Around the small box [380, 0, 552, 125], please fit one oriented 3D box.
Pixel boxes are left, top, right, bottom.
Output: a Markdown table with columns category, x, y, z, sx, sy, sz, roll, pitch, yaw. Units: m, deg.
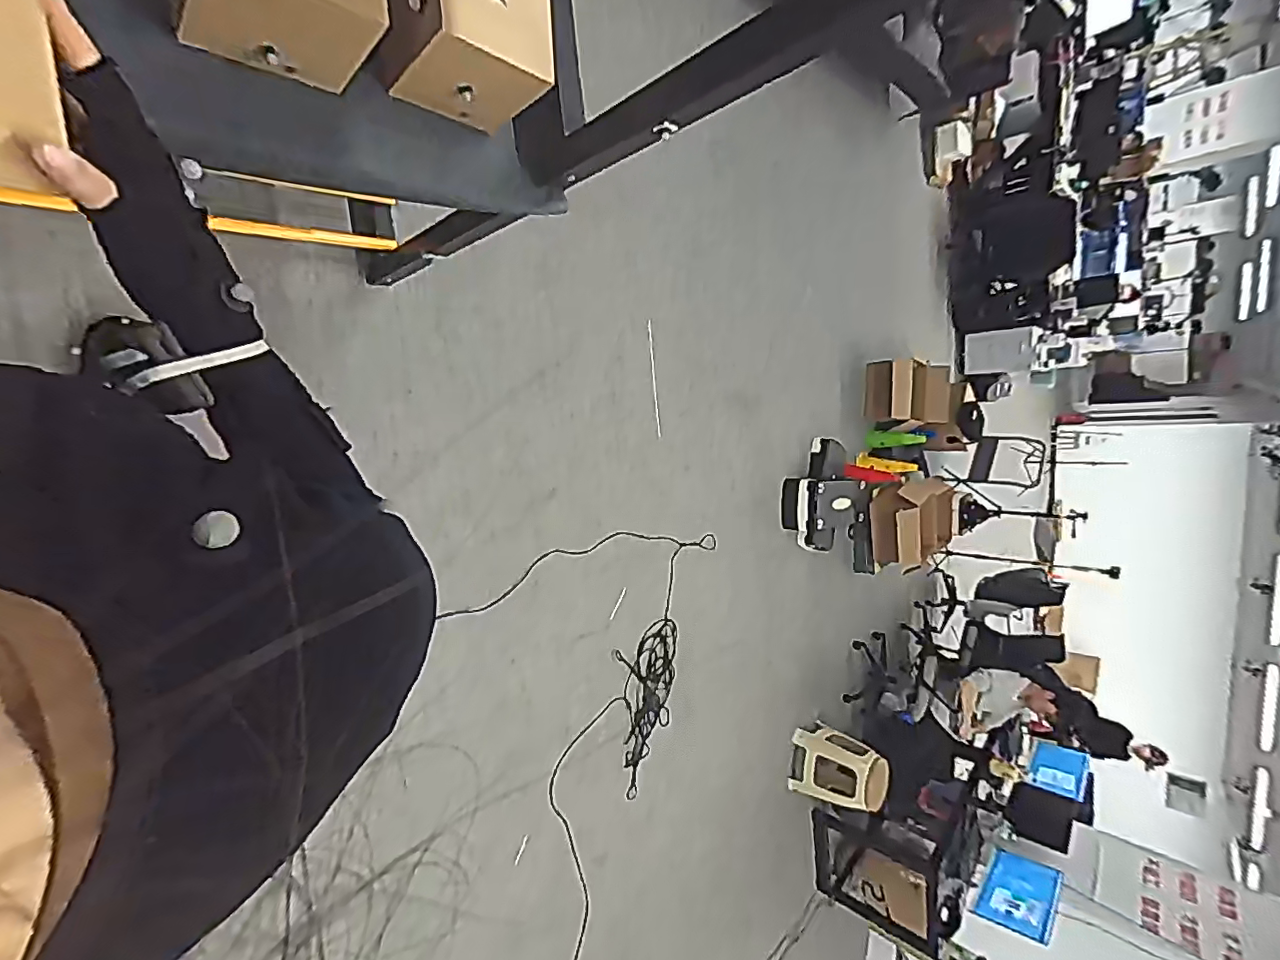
| category | x | y | z | sx | sy | sz | roll | pitch | yaw |
| --- | --- | --- | --- | --- | --- | --- | --- | --- | --- |
| small box | -0.239 | -0.628 | 0.737 | 0.168 | 0.176 | 0.179 | -9 | 99 | -46 |
